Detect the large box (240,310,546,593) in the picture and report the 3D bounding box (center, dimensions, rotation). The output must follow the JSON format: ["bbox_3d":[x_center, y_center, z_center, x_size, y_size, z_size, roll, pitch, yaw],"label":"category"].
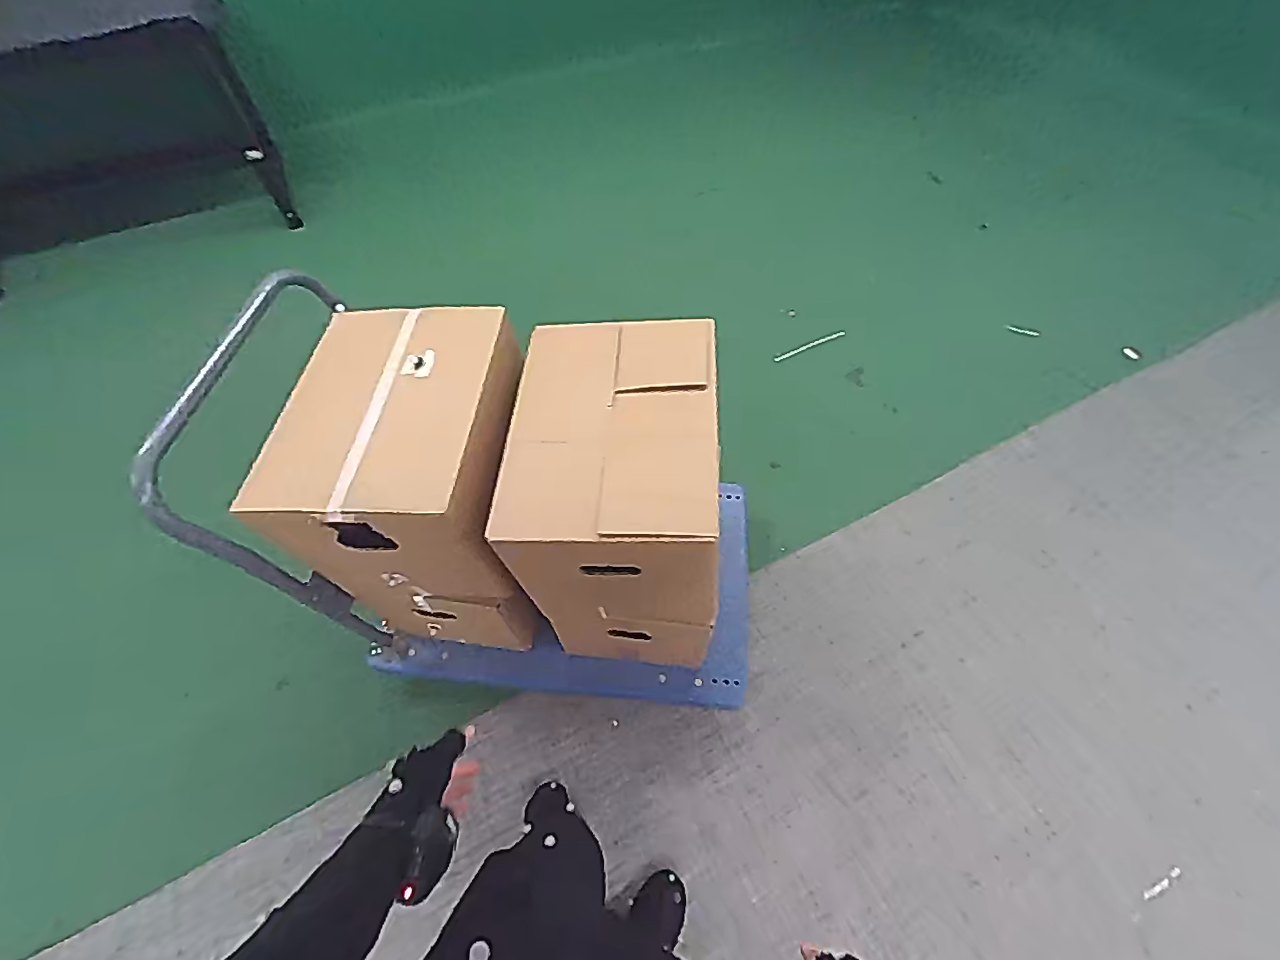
[{"bbox_3d":[-0.378,-0.041,0.956,0.320,0.320,0.408,1,57,7],"label":"large box"}]
